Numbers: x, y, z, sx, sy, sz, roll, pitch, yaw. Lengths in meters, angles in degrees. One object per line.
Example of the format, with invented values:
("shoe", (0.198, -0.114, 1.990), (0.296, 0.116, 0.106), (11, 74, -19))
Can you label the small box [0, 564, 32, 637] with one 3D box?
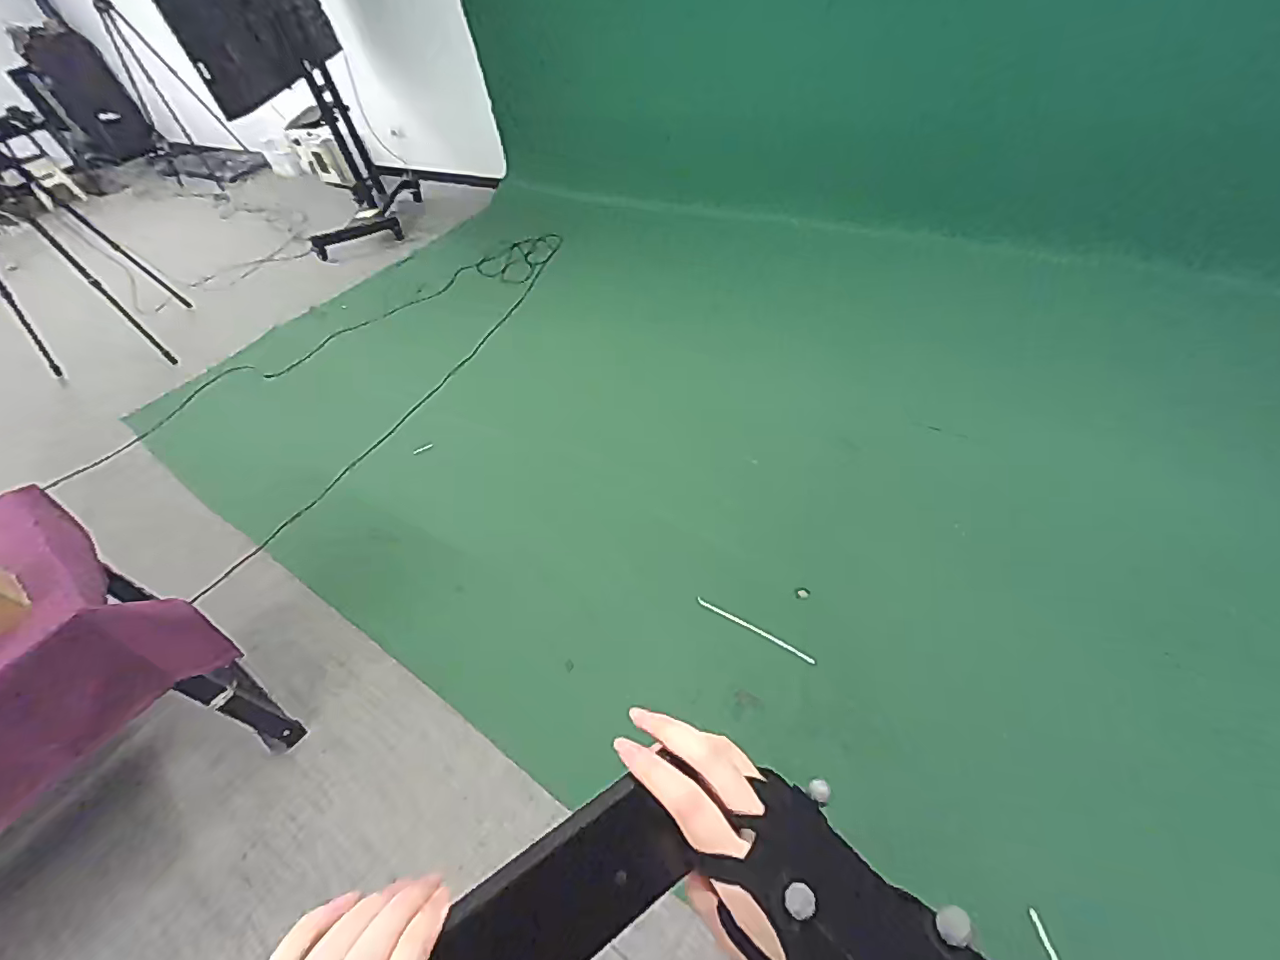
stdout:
("small box", (-1.274, 0.223, 0.976), (0.168, 0.176, 0.179), (23, 56, 29))
